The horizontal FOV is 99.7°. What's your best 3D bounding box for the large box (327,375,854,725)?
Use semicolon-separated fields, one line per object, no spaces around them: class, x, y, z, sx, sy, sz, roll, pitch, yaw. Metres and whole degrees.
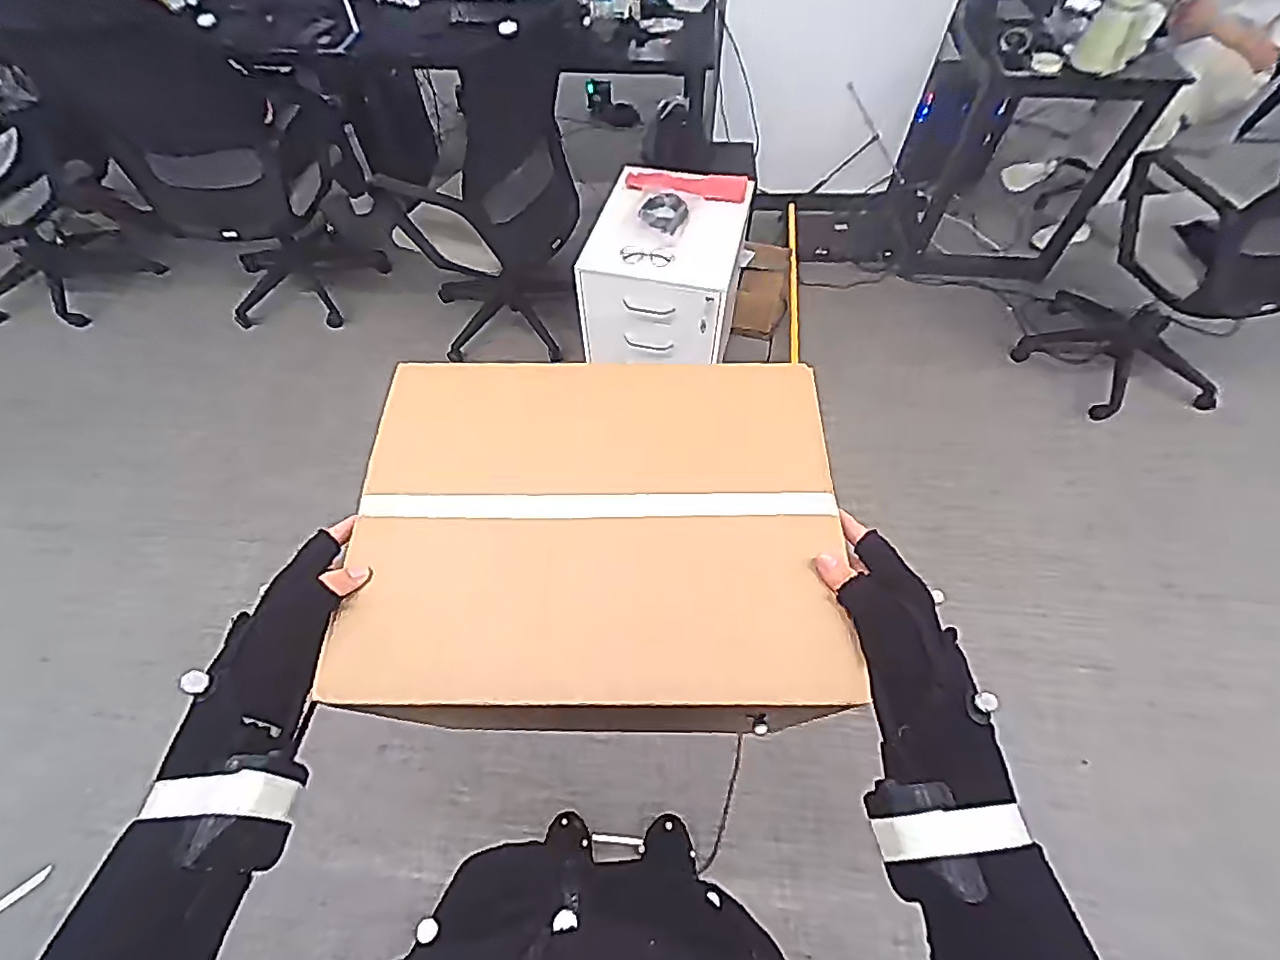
large box;-0.036;0.099;0.603;0.408;0.320;0.320;1;62;0
